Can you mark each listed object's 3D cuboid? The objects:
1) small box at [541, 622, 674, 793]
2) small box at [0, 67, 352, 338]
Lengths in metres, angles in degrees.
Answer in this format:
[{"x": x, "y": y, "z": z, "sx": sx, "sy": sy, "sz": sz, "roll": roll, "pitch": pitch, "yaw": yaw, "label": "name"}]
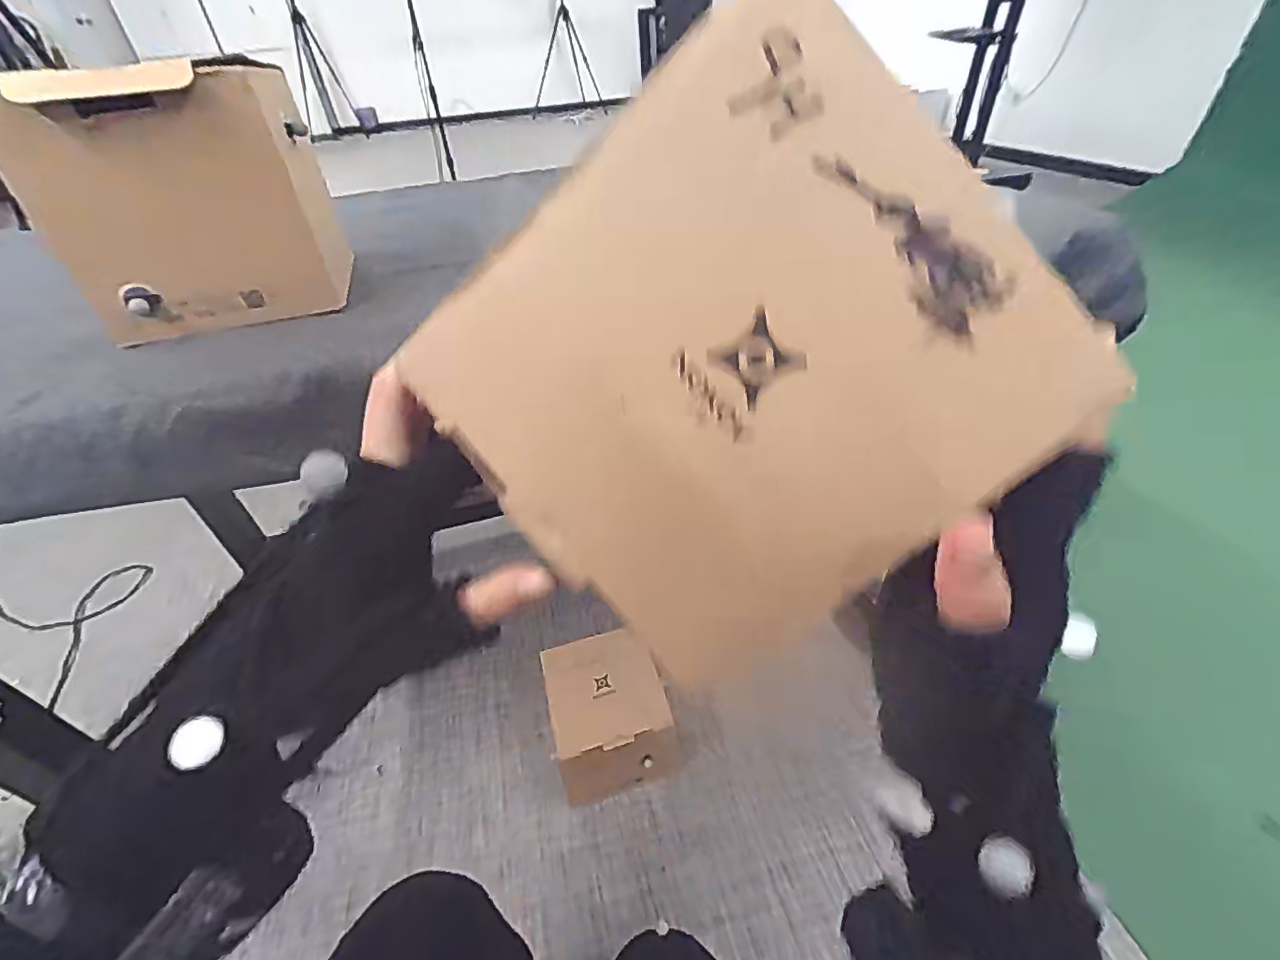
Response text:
[{"x": -0.050, "y": 0.362, "z": 0.853, "sx": 0.168, "sy": 0.176, "sz": 0.179, "roll": -14, "pitch": 39, "yaw": -11, "label": "small box"}, {"x": -0.362, "y": -0.232, "z": 0.454, "sx": 0.168, "sy": 0.176, "sz": 0.179, "roll": -16, "pitch": 39, "yaw": -13, "label": "small box"}]
